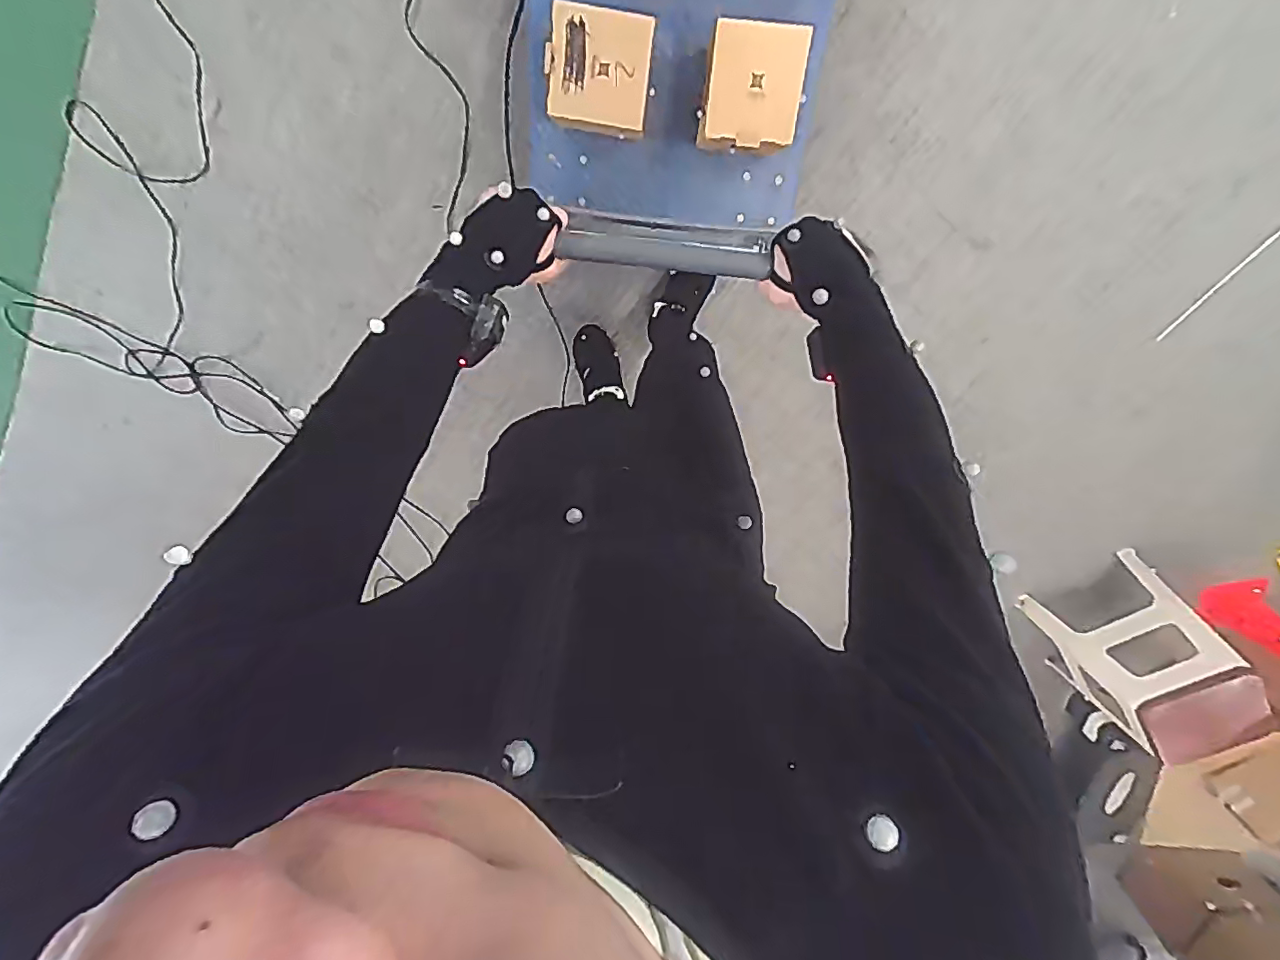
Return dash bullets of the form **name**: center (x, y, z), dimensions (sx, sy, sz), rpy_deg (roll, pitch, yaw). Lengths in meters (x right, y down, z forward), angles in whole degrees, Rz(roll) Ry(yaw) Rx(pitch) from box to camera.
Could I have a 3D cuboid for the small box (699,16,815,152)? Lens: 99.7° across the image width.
- **small box**: center (0.208, -0.733, 1.018), dimensions (0.168, 0.176, 0.179), rpy_deg (4, 118, -2)
